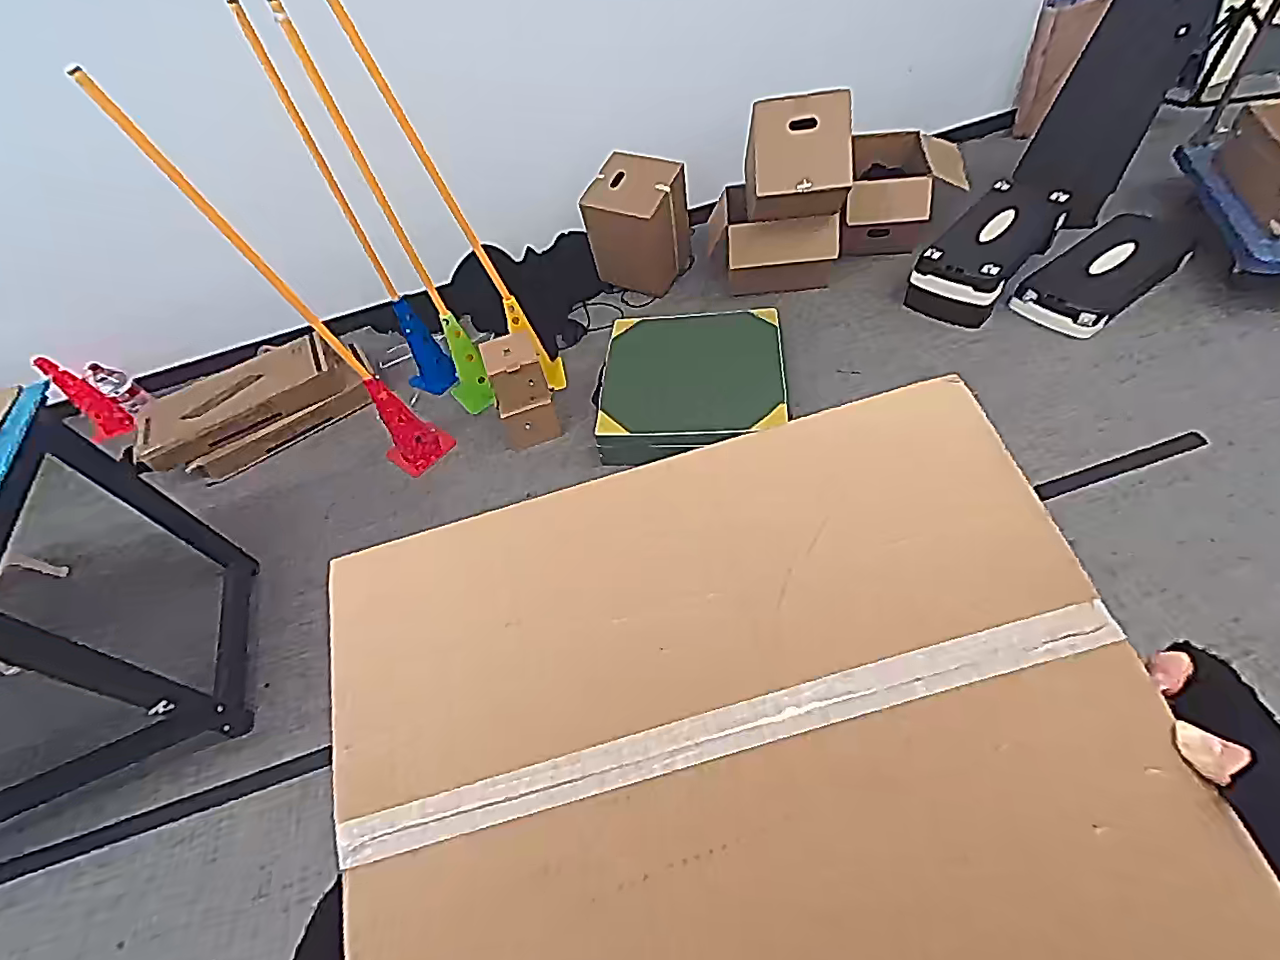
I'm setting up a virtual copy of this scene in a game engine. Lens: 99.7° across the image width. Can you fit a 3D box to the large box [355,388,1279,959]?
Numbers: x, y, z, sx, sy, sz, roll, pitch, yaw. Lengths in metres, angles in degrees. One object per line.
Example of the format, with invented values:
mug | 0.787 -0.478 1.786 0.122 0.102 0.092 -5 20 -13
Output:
large box | 0.062 0.191 0.421 0.408 0.320 0.320 -17 66 1
